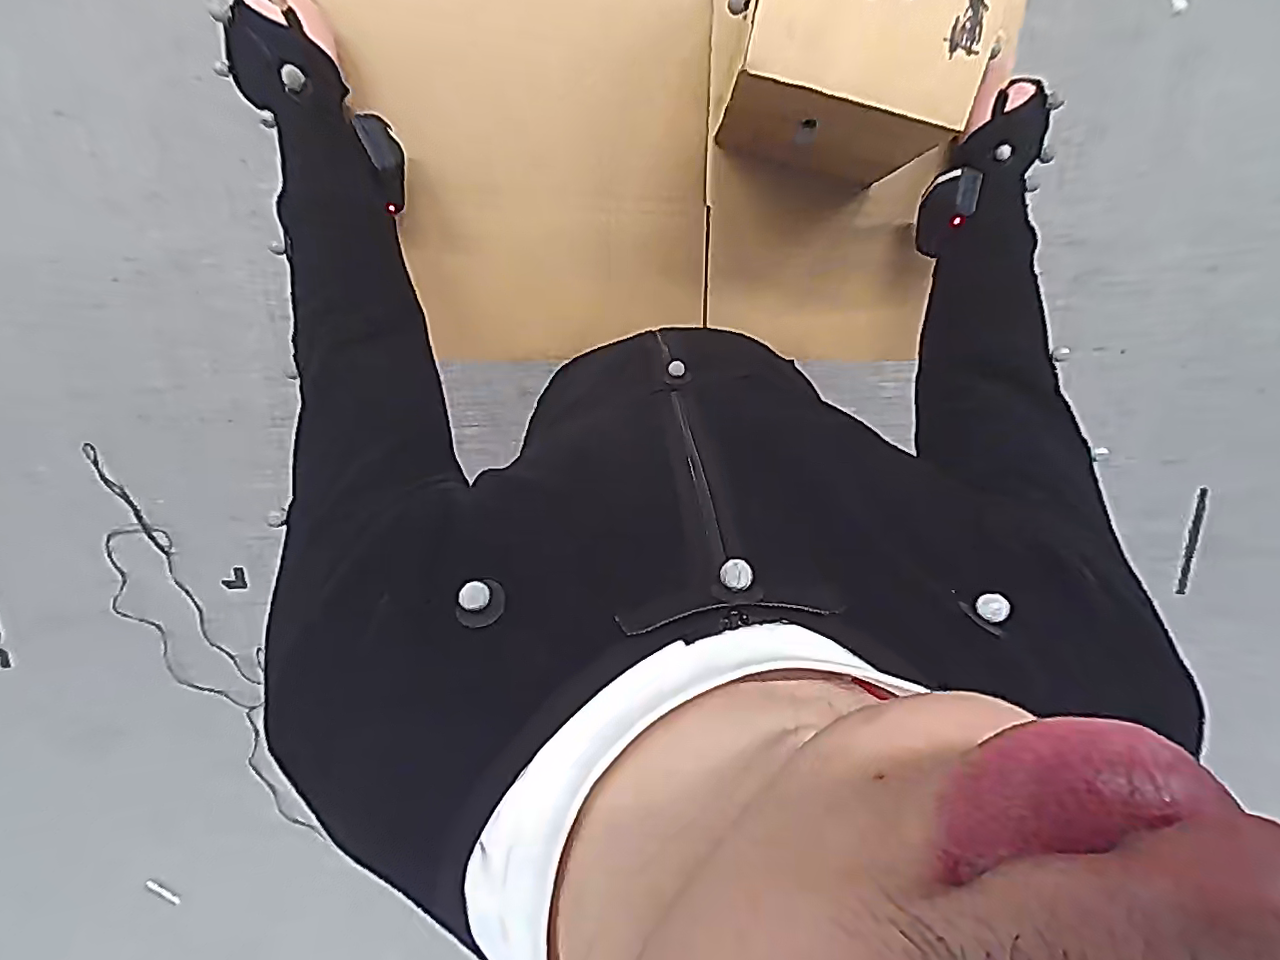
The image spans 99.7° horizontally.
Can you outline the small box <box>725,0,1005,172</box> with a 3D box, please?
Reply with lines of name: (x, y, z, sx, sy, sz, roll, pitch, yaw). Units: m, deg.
small box: (0.180, -0.386, 0.460, 0.179, 0.176, 0.168, 13, 107, -2)
